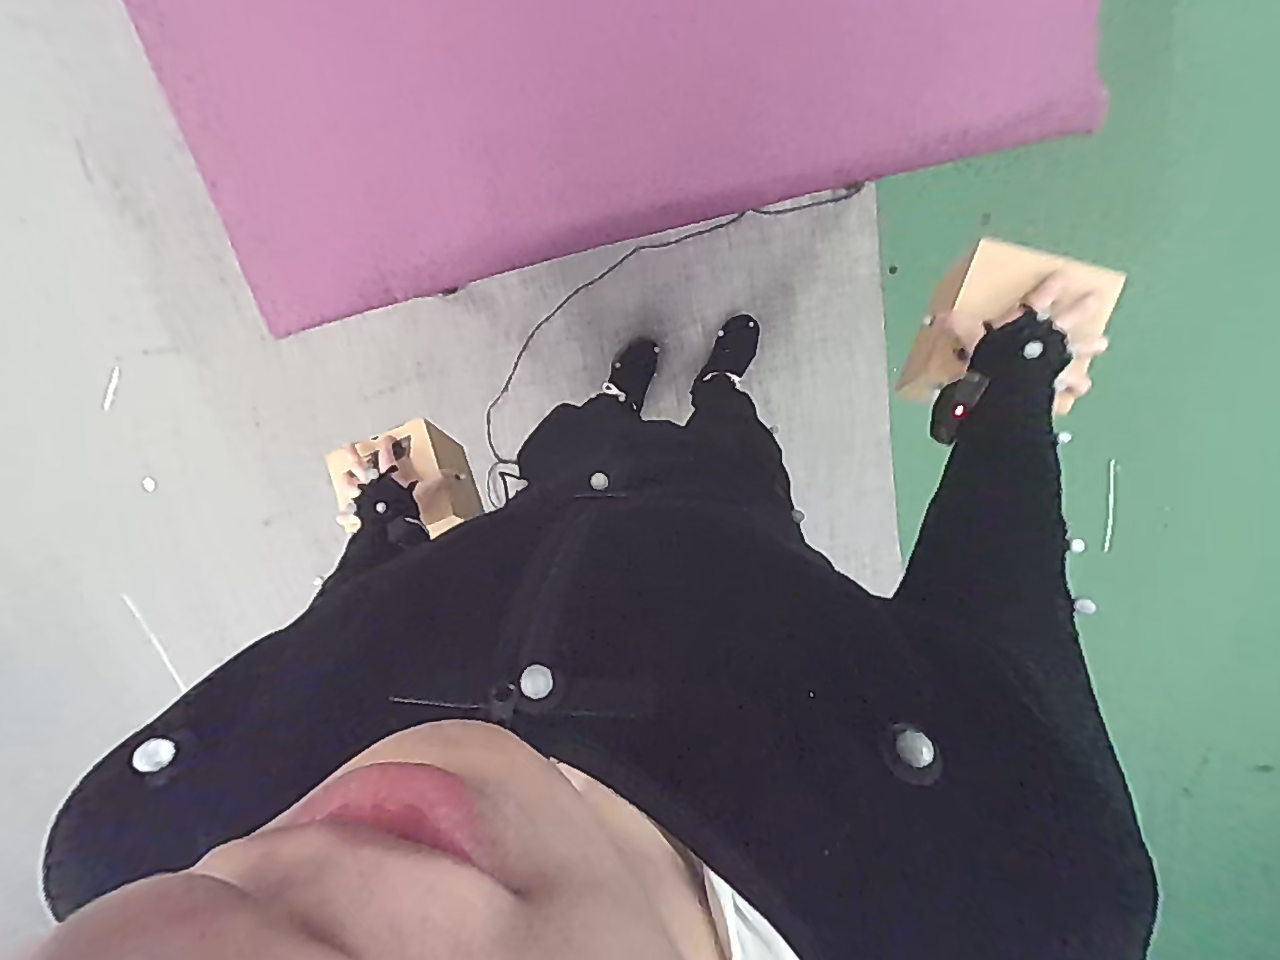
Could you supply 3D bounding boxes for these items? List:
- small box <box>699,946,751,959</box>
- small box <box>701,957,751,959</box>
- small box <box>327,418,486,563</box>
[{"bbox_3d":[0.282,1.604,1.678,0.168,0.176,0.179,-10,107,2],"label":"small box"},{"bbox_3d":[0.247,1.418,1.443,0.168,0.176,0.179,-4,109,1],"label":"small box"},{"bbox_3d":[-0.381,0.026,0.905,0.168,0.176,0.179,-22,77,-2],"label":"small box"}]
